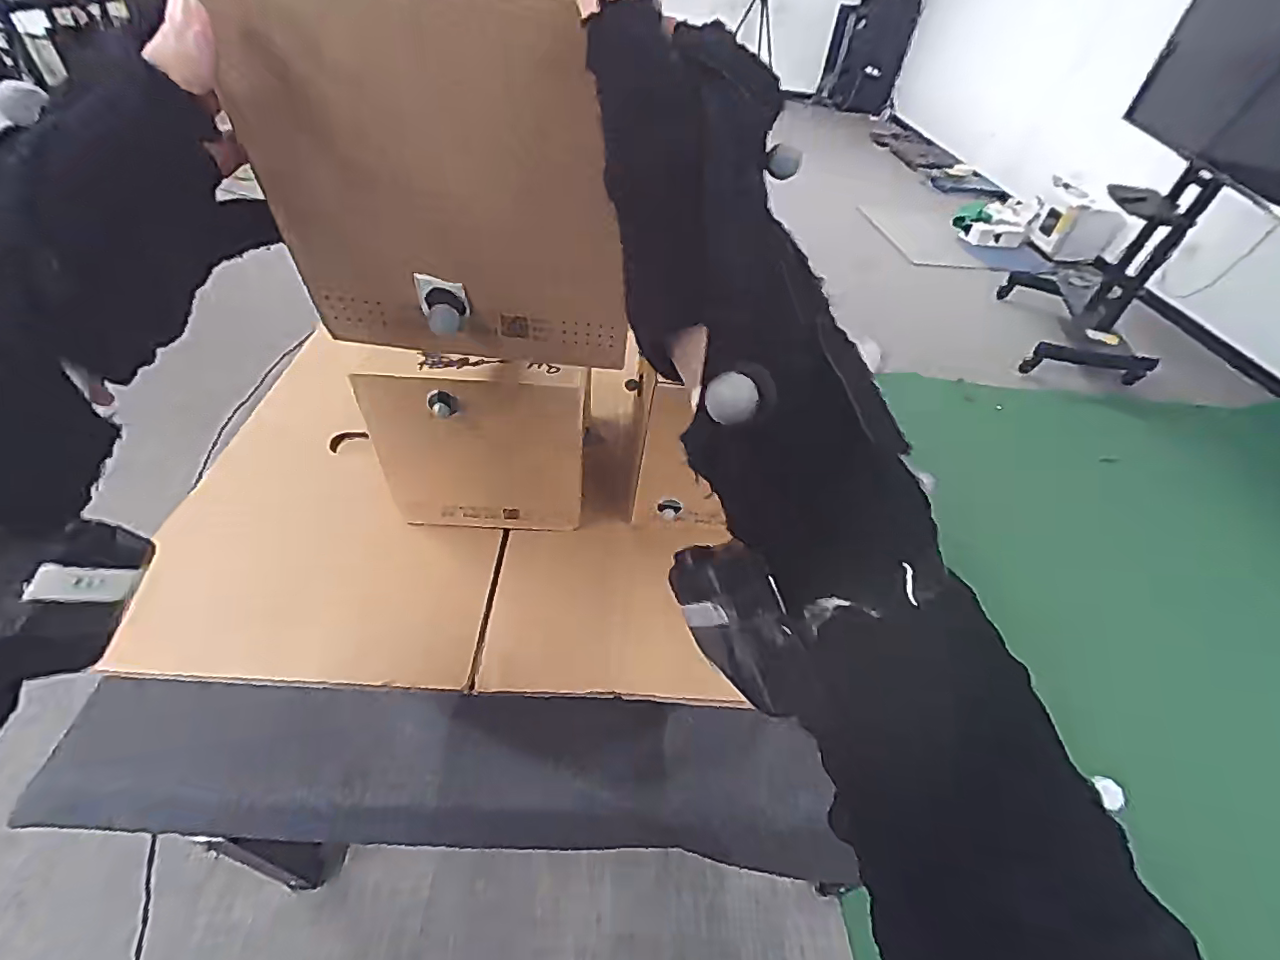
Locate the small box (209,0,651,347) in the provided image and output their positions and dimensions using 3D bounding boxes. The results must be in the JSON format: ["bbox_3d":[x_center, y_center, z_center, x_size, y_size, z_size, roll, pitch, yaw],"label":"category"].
[{"bbox_3d":[-0.083,-0.199,0.286,0.168,0.176,0.179,5,54,-4],"label":"small box"}]

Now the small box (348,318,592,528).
[{"bbox_3d":[-0.134,-0.079,0.503,0.168,0.176,0.179,3,45,-2],"label":"small box"}]
